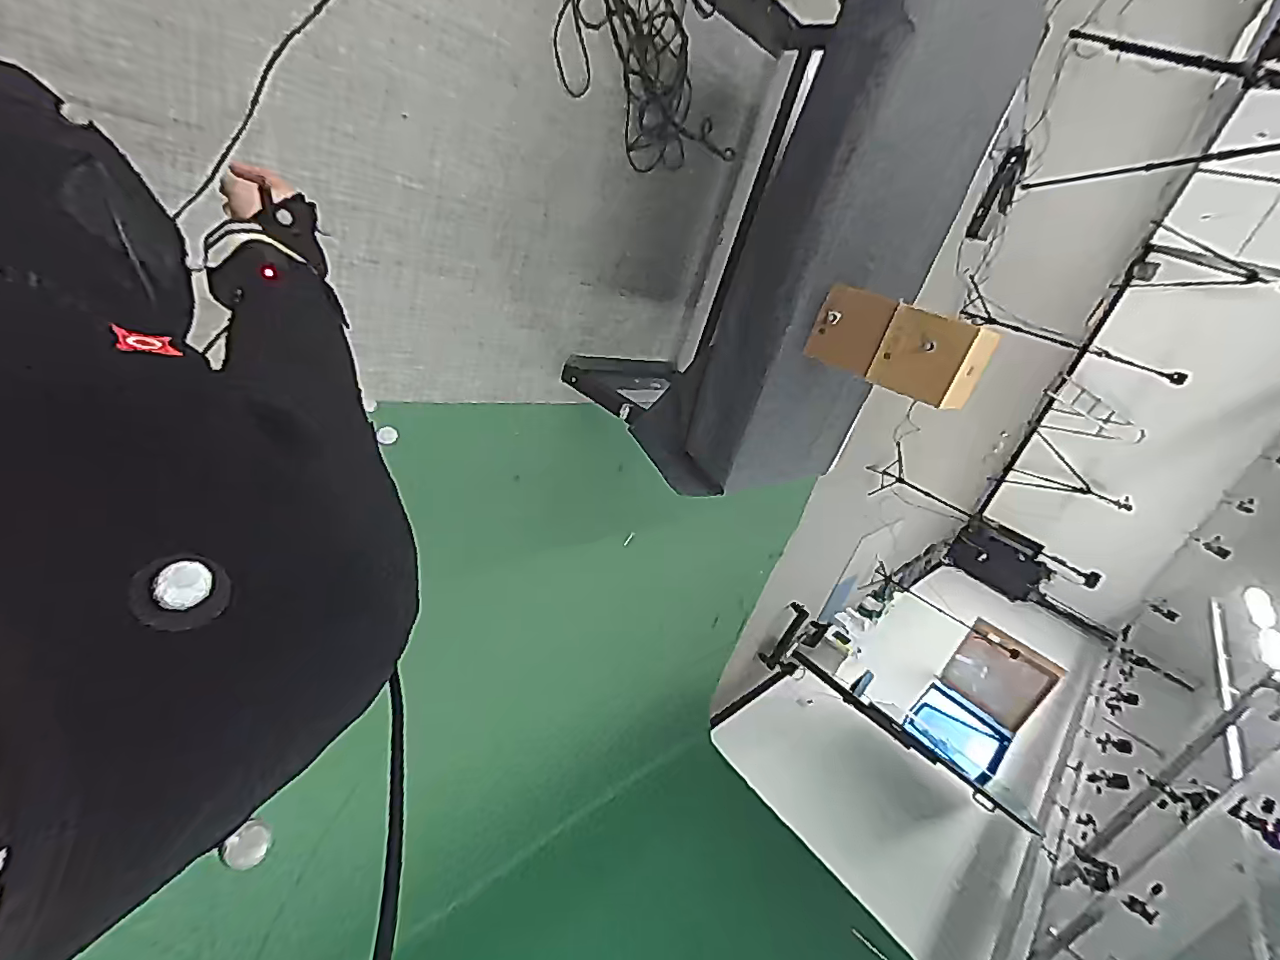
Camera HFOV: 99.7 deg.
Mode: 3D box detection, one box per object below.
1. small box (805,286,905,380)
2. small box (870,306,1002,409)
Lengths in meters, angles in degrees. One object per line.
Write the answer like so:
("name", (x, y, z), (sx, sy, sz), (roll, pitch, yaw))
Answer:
("small box", (0.514, -0.334, 1.241), (0.179, 0.176, 0.168), (-7, 123, -45))
("small box", (0.616, -0.258, 1.140), (0.179, 0.176, 0.168), (-10, 125, -46))
